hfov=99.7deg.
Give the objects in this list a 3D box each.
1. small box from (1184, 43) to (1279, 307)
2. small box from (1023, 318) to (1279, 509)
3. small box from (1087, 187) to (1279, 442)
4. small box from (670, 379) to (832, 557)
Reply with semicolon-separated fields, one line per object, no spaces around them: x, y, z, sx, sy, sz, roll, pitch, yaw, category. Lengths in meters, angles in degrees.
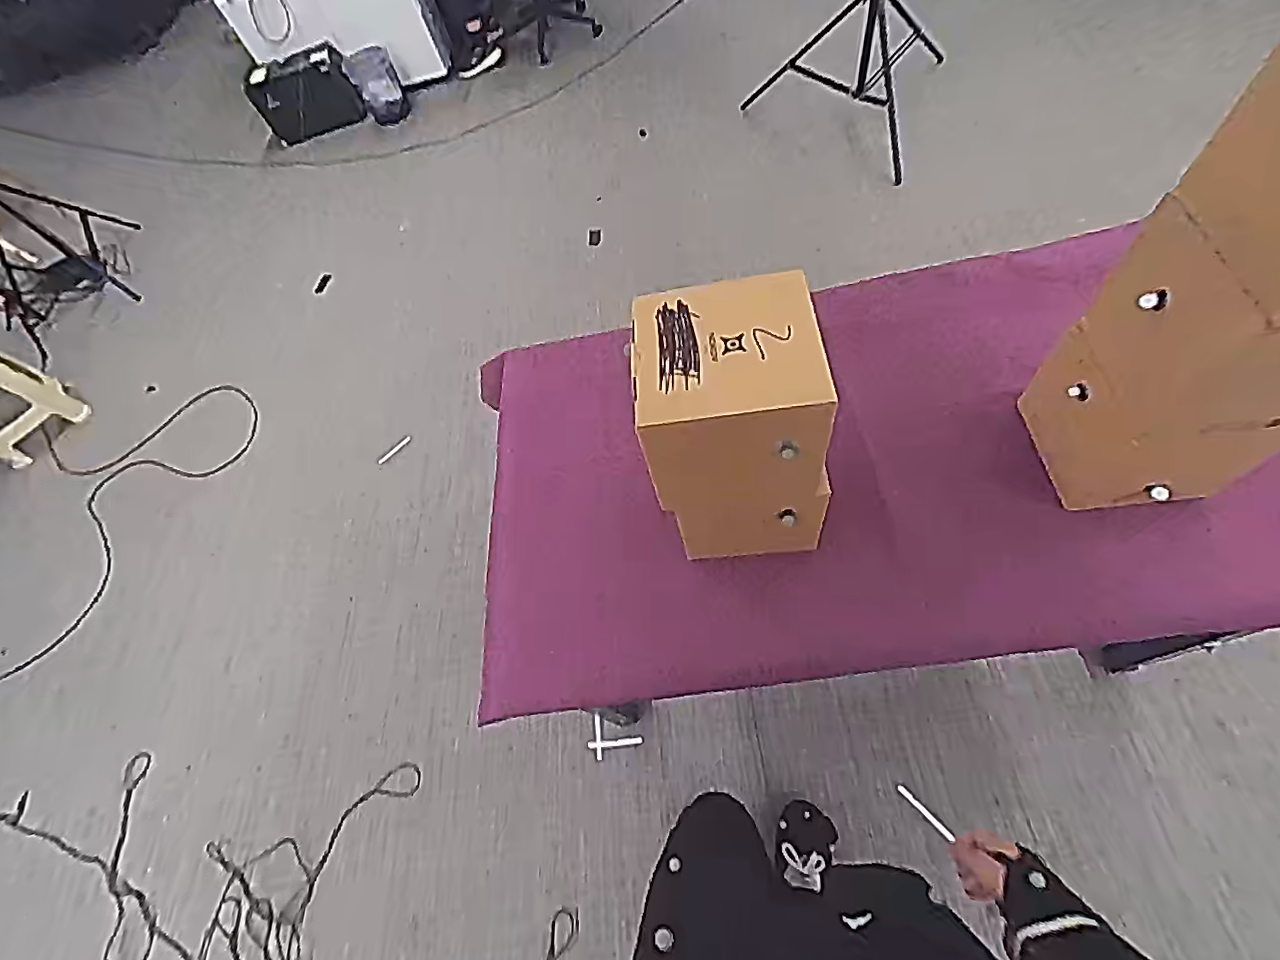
0.546;-0.230;0.365;0.168;0.176;0.179;-5;60;10;small box
0.606;-0.083;0.651;0.168;0.176;0.179;-7;61;9;small box
0.576;-0.157;0.508;0.168;0.176;0.179;-5;60;10;small box
0.139;-0.008;0.710;0.179;0.176;0.168;-6;60;9;small box
